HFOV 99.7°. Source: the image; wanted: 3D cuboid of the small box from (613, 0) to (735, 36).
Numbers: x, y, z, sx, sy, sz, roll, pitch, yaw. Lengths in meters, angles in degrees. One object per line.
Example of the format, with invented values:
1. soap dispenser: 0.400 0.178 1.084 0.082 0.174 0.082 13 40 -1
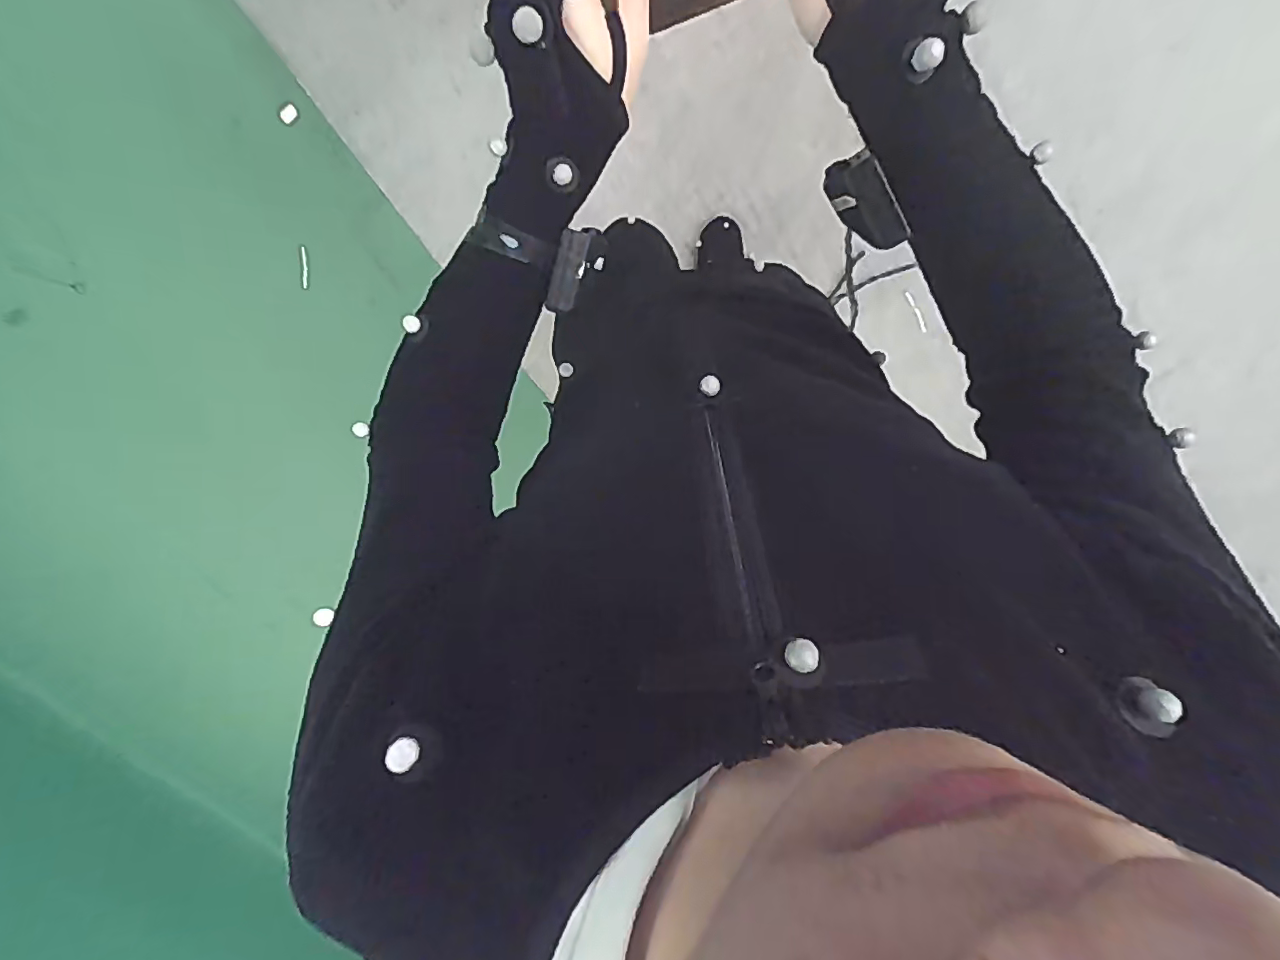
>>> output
1. small box: 0.030 -0.408 0.299 0.168 0.176 0.179 -12 105 14
